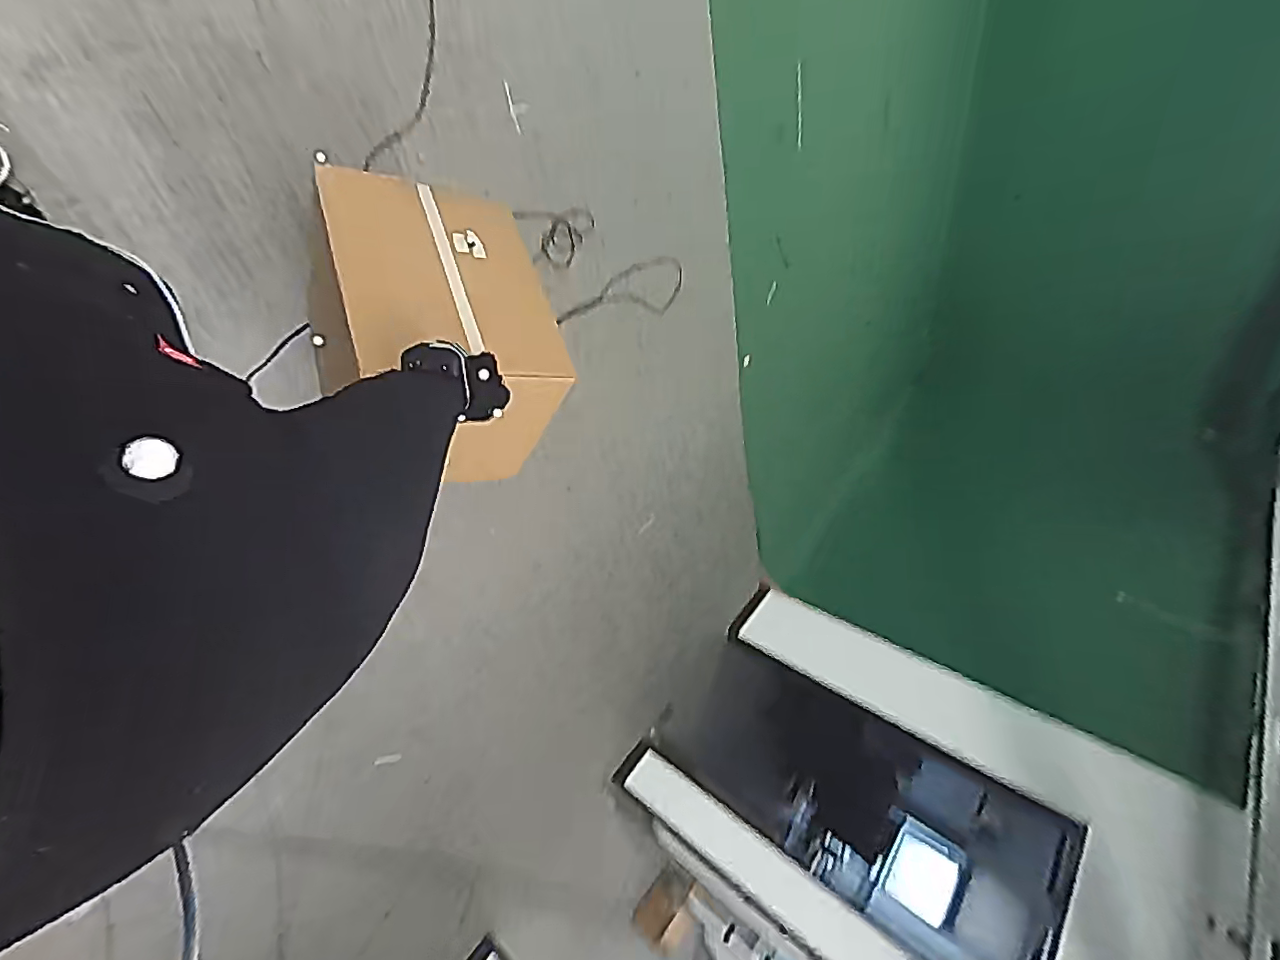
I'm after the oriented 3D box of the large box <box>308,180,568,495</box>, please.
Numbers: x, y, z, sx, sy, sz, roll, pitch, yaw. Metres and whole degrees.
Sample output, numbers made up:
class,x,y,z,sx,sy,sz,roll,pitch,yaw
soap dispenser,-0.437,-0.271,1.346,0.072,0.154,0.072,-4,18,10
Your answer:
class,x,y,z,sx,sy,sz,roll,pitch,yaw
large box,-0.377,-0.230,0.953,0.320,0.408,0.320,-5,152,-37
